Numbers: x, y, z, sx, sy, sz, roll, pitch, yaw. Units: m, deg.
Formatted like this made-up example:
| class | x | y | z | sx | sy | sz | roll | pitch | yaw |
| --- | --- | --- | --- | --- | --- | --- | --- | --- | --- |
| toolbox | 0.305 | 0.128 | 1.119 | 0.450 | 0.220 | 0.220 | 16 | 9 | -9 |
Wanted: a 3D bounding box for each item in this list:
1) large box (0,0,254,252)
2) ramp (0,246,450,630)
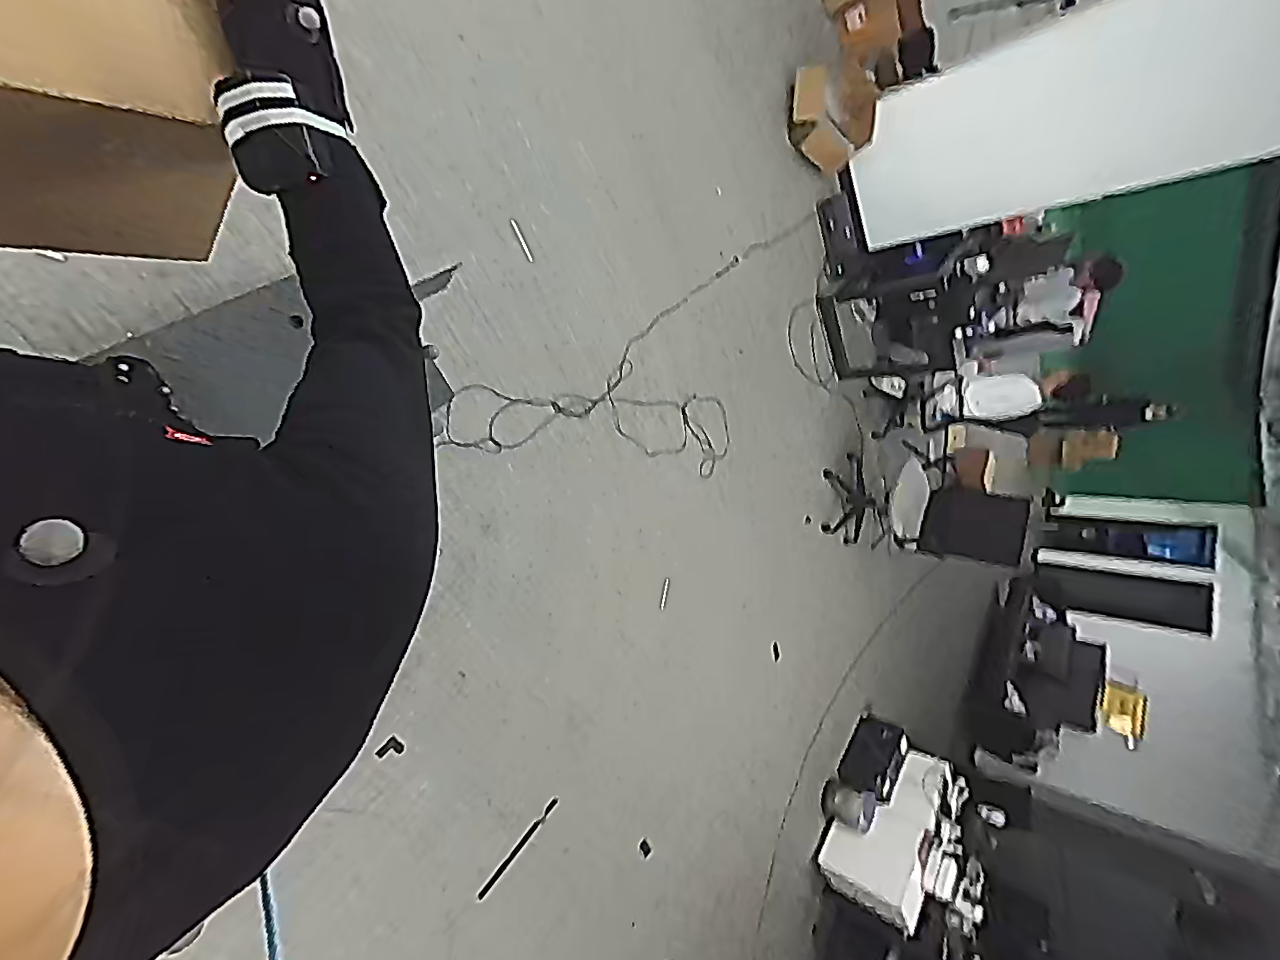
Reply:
| class | x | y | z | sx | sy | sz | roll | pitch | yaw |
| --- | --- | --- | --- | --- | --- | --- | --- | --- | --- |
| large box | -0.558 | -0.374 | 0.364 | 0.408 | 0.320 | 0.320 | -14 | 100 | -44 |
| ramp | -0.943 | -0.180 | 1.320 | 0.991 | 0.206 | 0.509 | -47 | 122 | -32 |
